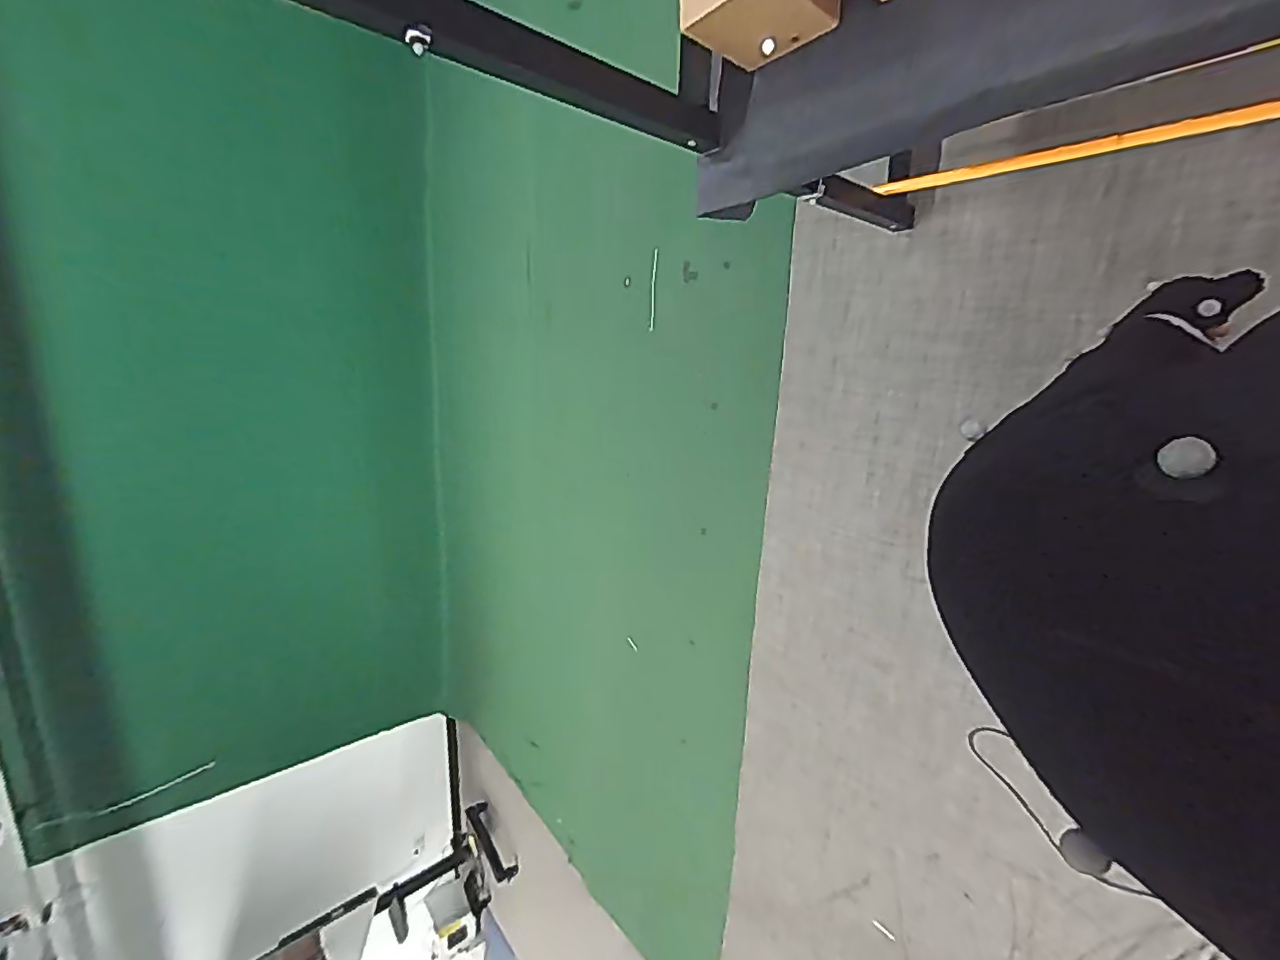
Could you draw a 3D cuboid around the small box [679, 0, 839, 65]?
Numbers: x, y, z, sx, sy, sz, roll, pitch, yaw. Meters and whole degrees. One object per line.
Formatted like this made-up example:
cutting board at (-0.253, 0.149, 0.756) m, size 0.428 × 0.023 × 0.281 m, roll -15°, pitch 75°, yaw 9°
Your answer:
small box at (0.175, -0.748, 0.772) m, size 0.168 × 0.176 × 0.179 m, roll 13°, pitch 107°, yaw 49°
